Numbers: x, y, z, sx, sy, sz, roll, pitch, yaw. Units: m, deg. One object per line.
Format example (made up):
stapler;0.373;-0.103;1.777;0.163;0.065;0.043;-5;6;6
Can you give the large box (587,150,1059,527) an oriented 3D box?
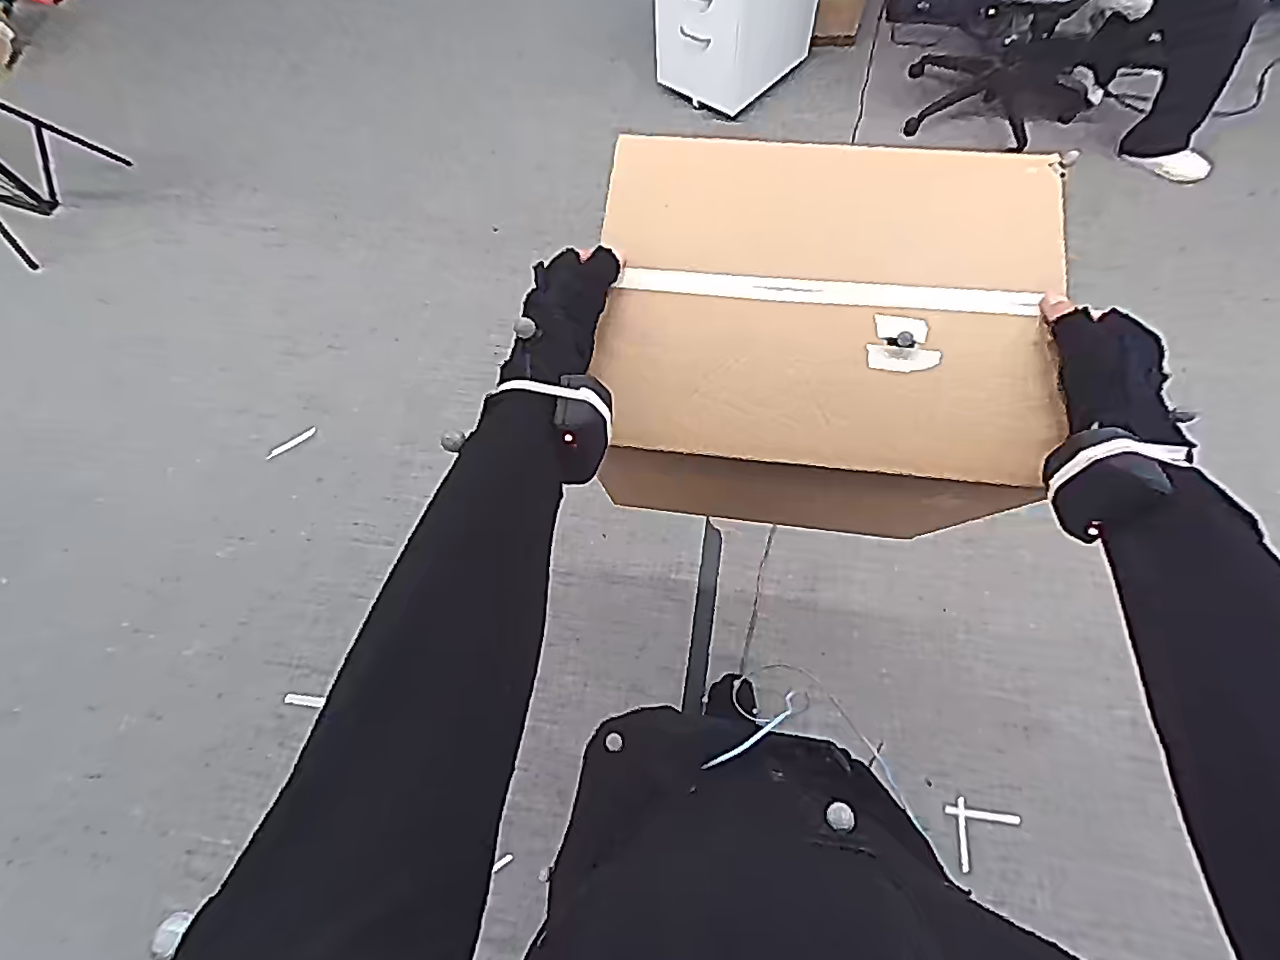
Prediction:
large box;0.173;-0.132;0.635;0.408;0.320;0.320;6;79;5
